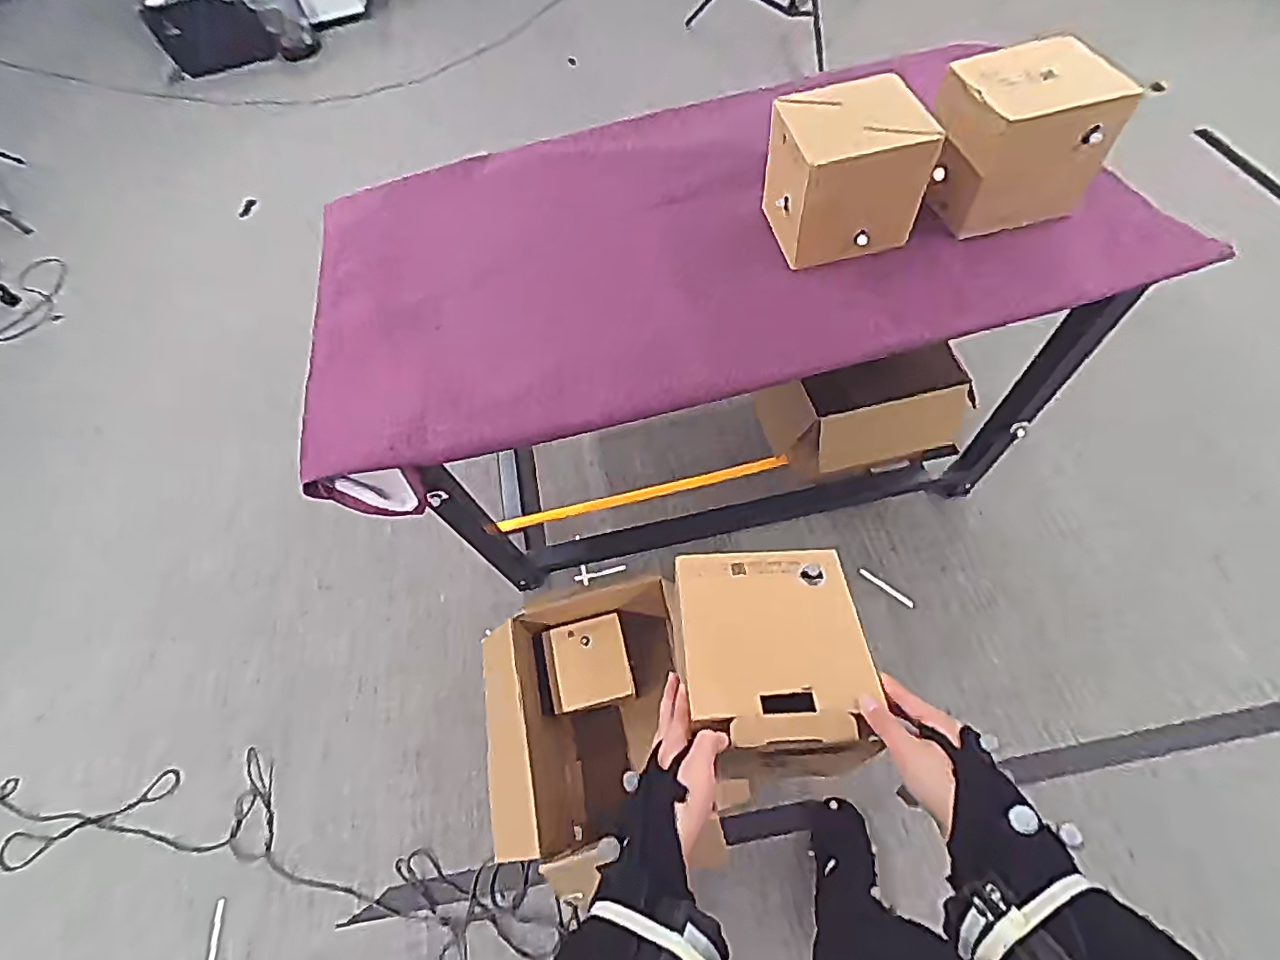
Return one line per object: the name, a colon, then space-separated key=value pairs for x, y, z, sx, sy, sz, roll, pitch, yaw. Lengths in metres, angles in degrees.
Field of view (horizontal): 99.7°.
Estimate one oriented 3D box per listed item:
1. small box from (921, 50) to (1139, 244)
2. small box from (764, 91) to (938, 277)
small box: x=0.536 y=-0.474 z=0.783 sx=0.179 sy=0.176 sz=0.168 roll=-12 pitch=58 yaw=1
small box: x=0.293 y=-0.433 z=0.792 sx=0.179 sy=0.176 sz=0.168 roll=-12 pitch=59 yaw=2
